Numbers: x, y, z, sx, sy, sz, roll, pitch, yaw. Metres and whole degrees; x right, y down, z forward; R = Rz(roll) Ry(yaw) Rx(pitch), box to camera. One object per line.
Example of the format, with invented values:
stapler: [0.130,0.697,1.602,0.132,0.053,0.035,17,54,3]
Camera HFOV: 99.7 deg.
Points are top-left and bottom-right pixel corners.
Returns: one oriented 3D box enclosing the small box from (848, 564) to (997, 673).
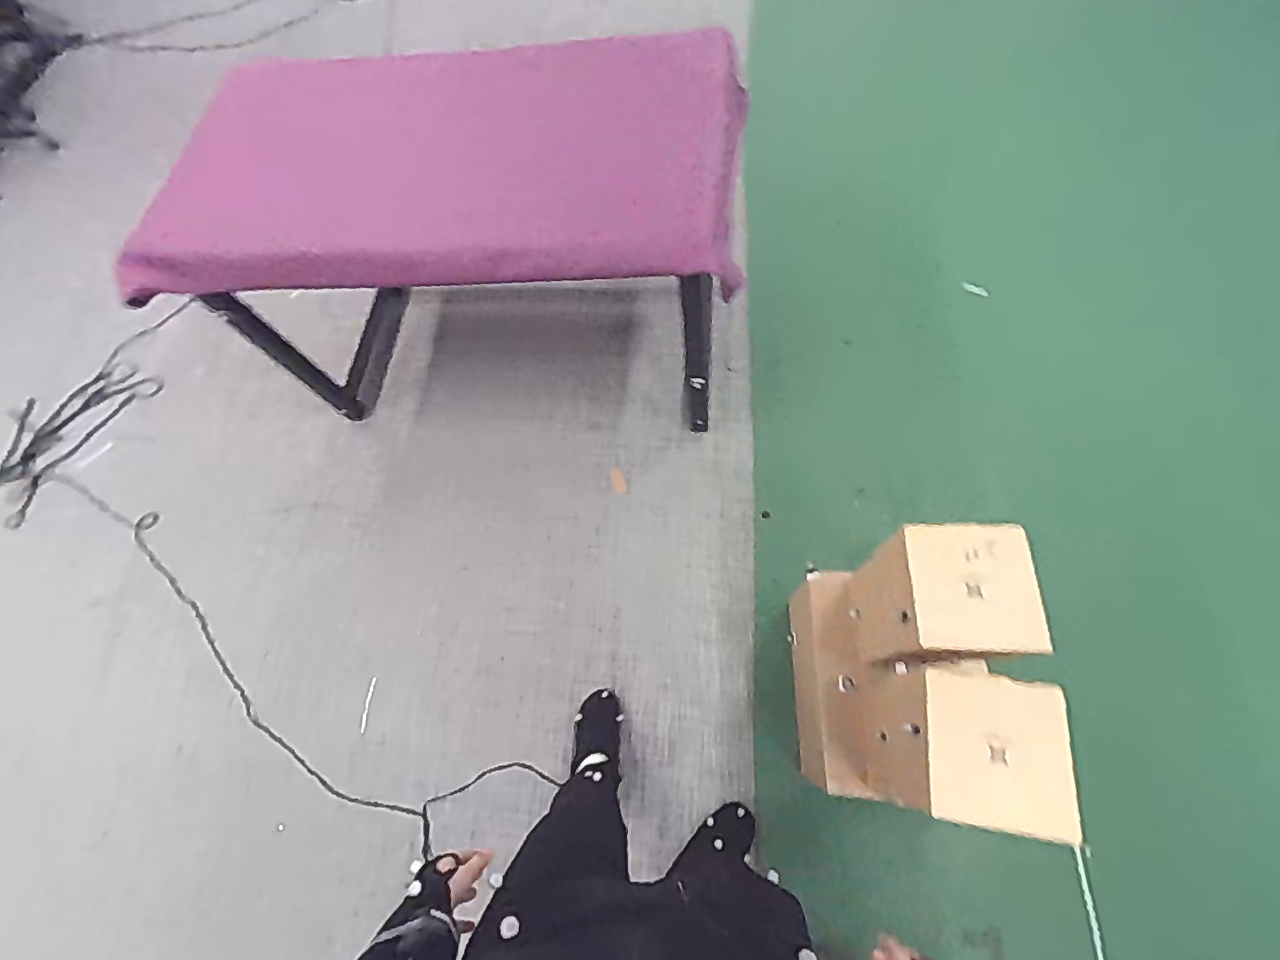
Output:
small box: [0.492,0.252,0.970,0.179,0.176,0.168,-3,66,7]

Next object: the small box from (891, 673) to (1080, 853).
small box: [0.453,0.376,0.741,0.168,0.176,0.179,6,65,11]
